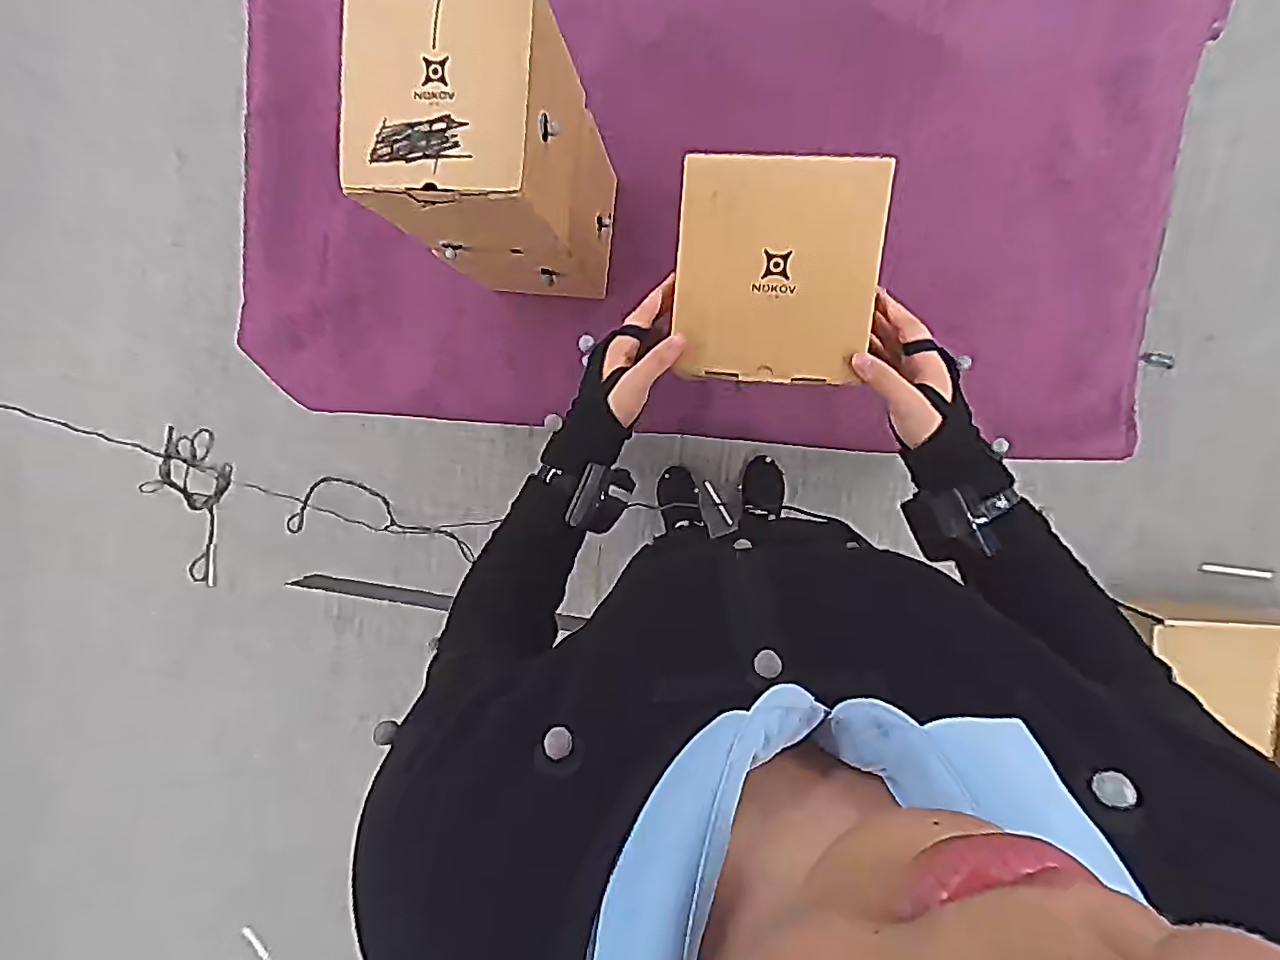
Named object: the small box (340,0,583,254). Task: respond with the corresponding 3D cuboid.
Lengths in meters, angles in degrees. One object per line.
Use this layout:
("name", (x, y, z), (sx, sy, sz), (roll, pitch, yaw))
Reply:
("small box", (-0.157, -0.331, 0.521), (0.168, 0.176, 0.179), (5, 95, 7))

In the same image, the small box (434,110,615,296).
("small box", (-0.134, -0.339, 0.683), (0.179, 0.176, 0.168), (7, 96, 8))
